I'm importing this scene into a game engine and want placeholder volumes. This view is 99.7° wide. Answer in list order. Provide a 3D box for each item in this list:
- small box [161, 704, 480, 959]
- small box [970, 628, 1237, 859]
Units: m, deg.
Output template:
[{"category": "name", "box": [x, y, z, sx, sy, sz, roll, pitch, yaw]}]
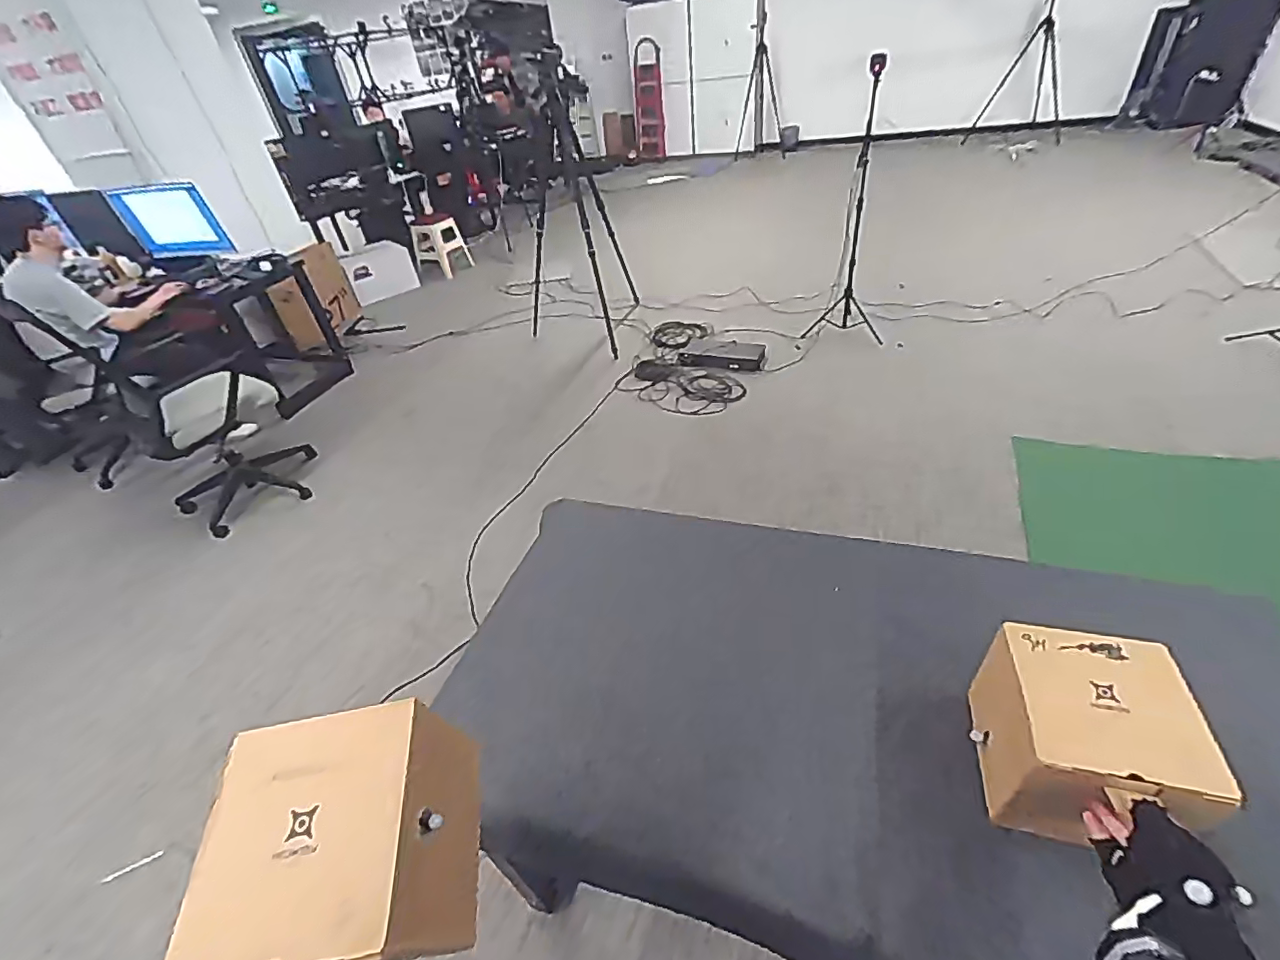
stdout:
[{"category": "small box", "box": [-0.251, 0.324, 0.478, 0.168, 0.176, 0.179, -11, 49, 0]}, {"category": "small box", "box": [0.509, 0.306, 0.632, 0.168, 0.176, 0.179, 6, 42, 16]}]
